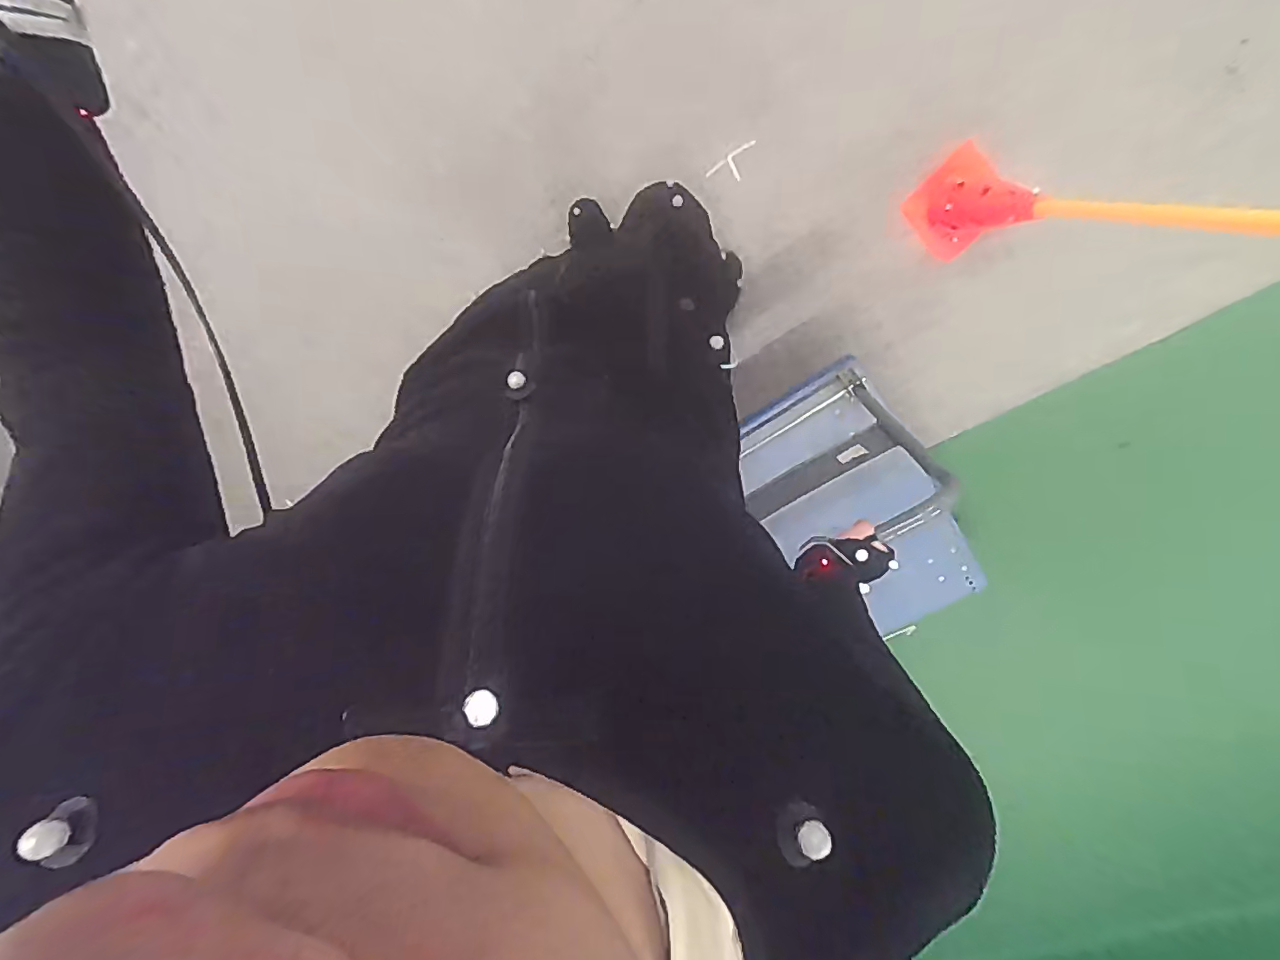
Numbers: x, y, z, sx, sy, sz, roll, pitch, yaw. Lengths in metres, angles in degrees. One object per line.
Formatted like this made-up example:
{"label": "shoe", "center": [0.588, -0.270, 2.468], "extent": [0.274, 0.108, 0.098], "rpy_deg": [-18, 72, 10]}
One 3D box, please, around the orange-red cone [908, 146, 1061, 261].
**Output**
{"label": "orange-red cone", "center": [0.774, -0.589, 1.163], "extent": [0.198, 0.360, 0.199], "rpy_deg": [40, 112, -17]}
